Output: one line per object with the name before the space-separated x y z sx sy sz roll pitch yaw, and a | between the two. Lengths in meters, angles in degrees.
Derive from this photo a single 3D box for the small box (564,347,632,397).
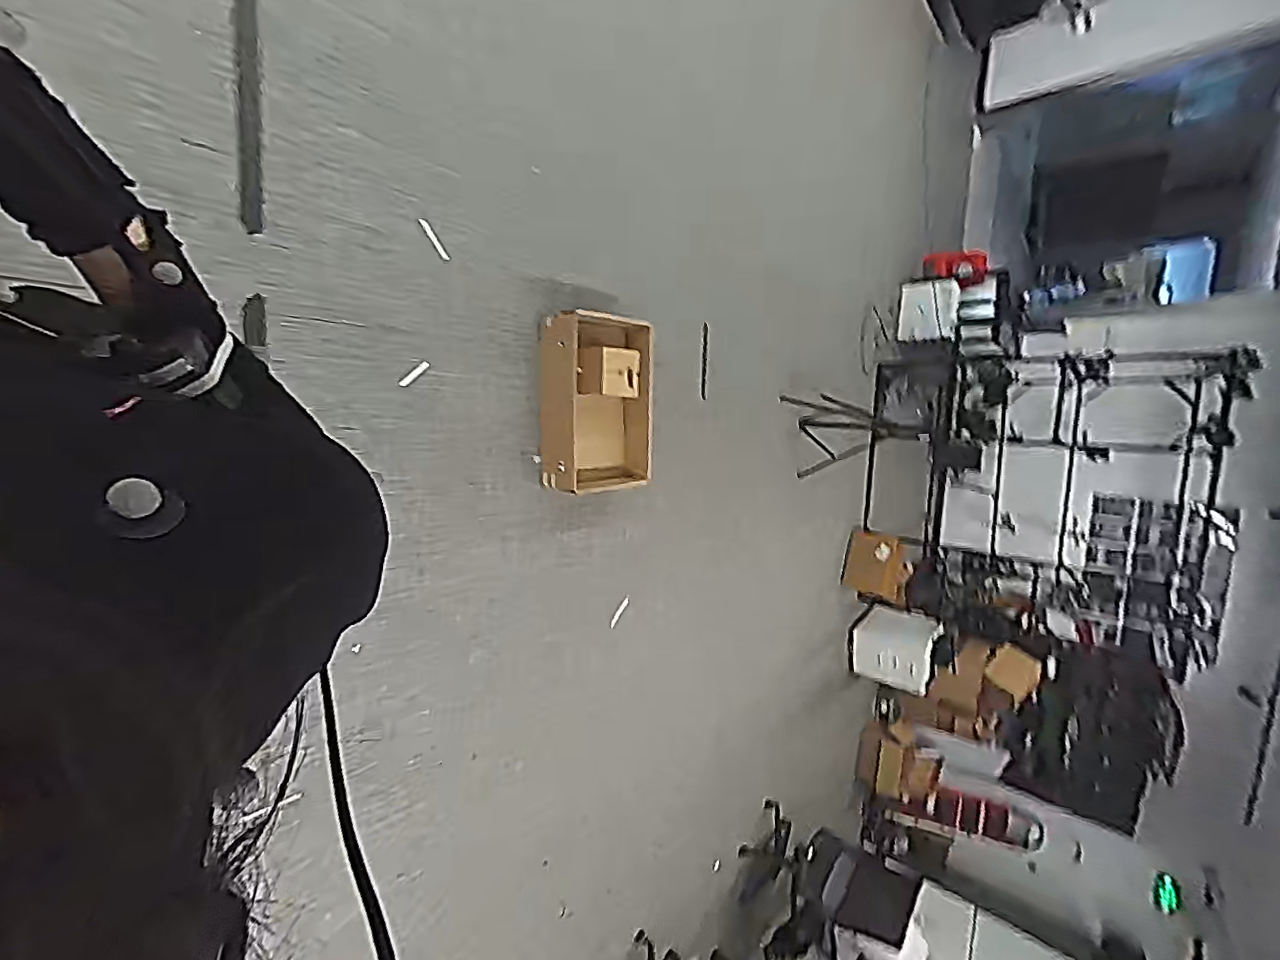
small box | -0.151 -0.388 1.956 0.179 0.176 0.168 -7 102 -47
